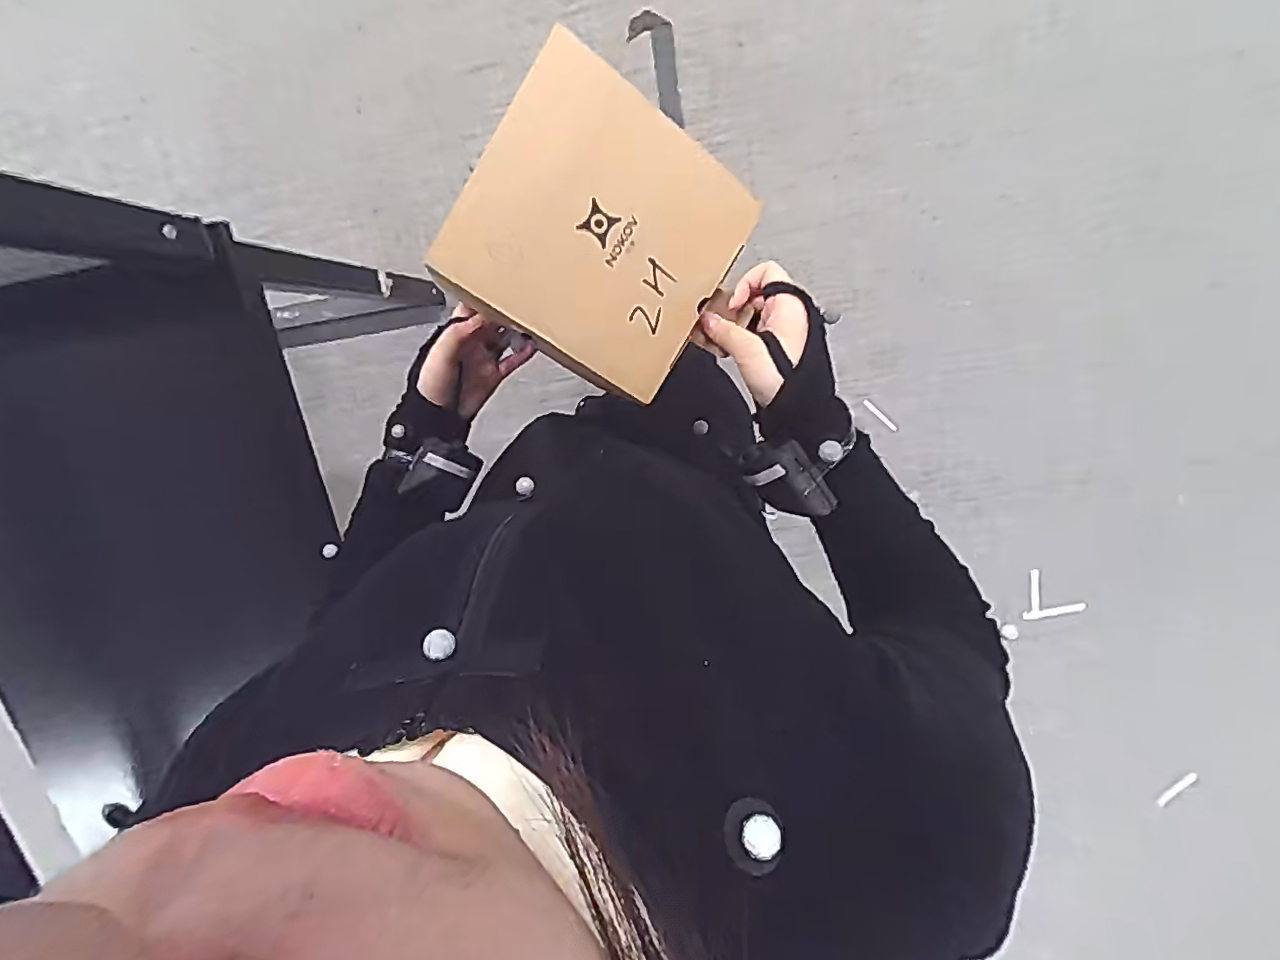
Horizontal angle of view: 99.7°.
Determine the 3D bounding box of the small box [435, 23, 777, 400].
[{"bbox_3d":[-0.036,-0.181,0.427,0.179,0.176,0.168,30,94,-21],"label":"small box"}]
